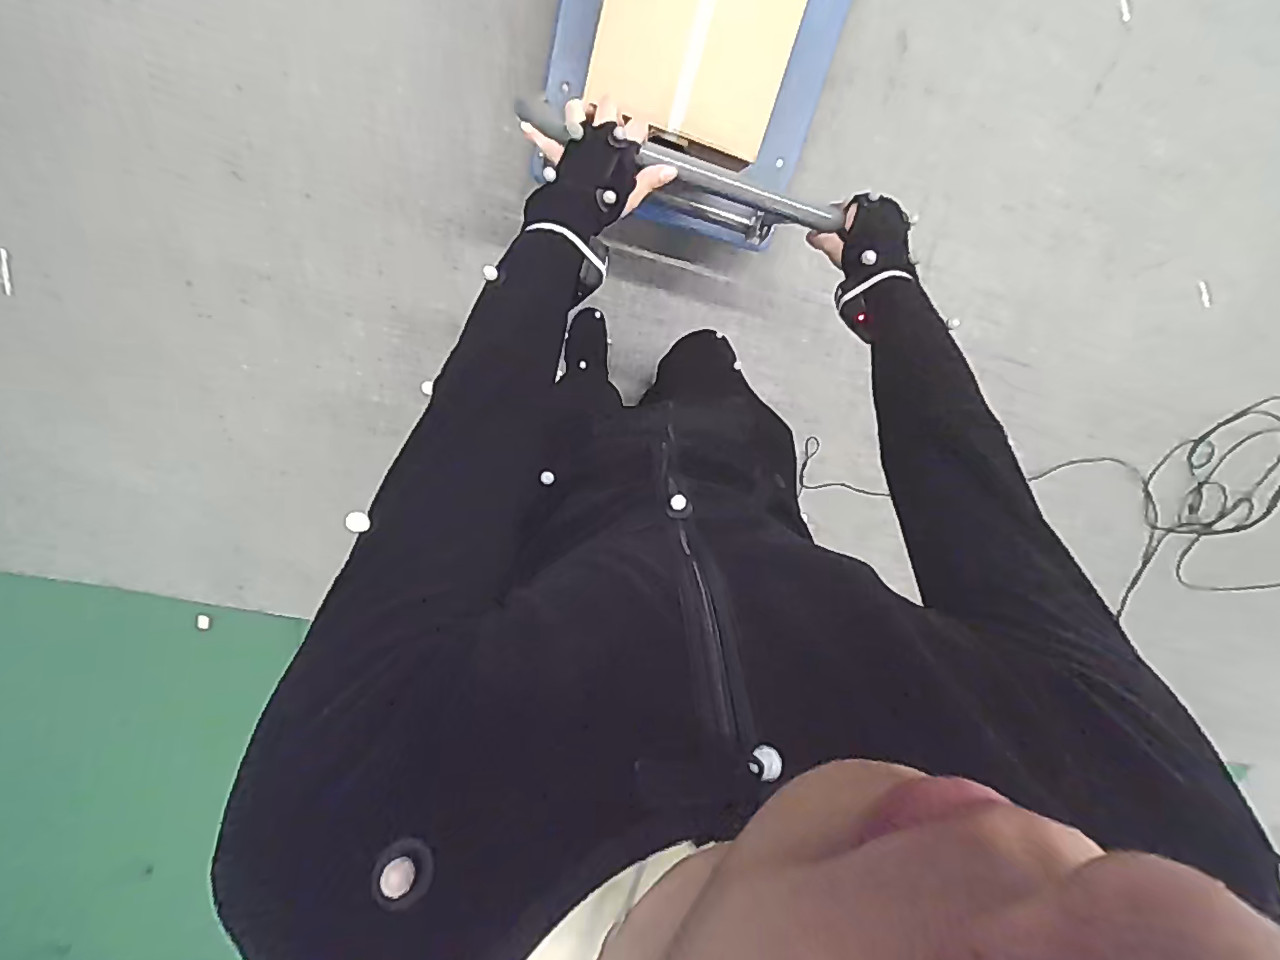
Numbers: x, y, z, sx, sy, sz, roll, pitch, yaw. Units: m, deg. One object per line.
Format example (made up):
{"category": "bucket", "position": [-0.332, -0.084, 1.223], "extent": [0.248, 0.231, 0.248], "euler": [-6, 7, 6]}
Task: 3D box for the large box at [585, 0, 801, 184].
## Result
{"category": "large box", "position": [0.090, -0.827, 0.998], "extent": [0.320, 0.320, 0.408], "euler": [13, 108, -11]}
